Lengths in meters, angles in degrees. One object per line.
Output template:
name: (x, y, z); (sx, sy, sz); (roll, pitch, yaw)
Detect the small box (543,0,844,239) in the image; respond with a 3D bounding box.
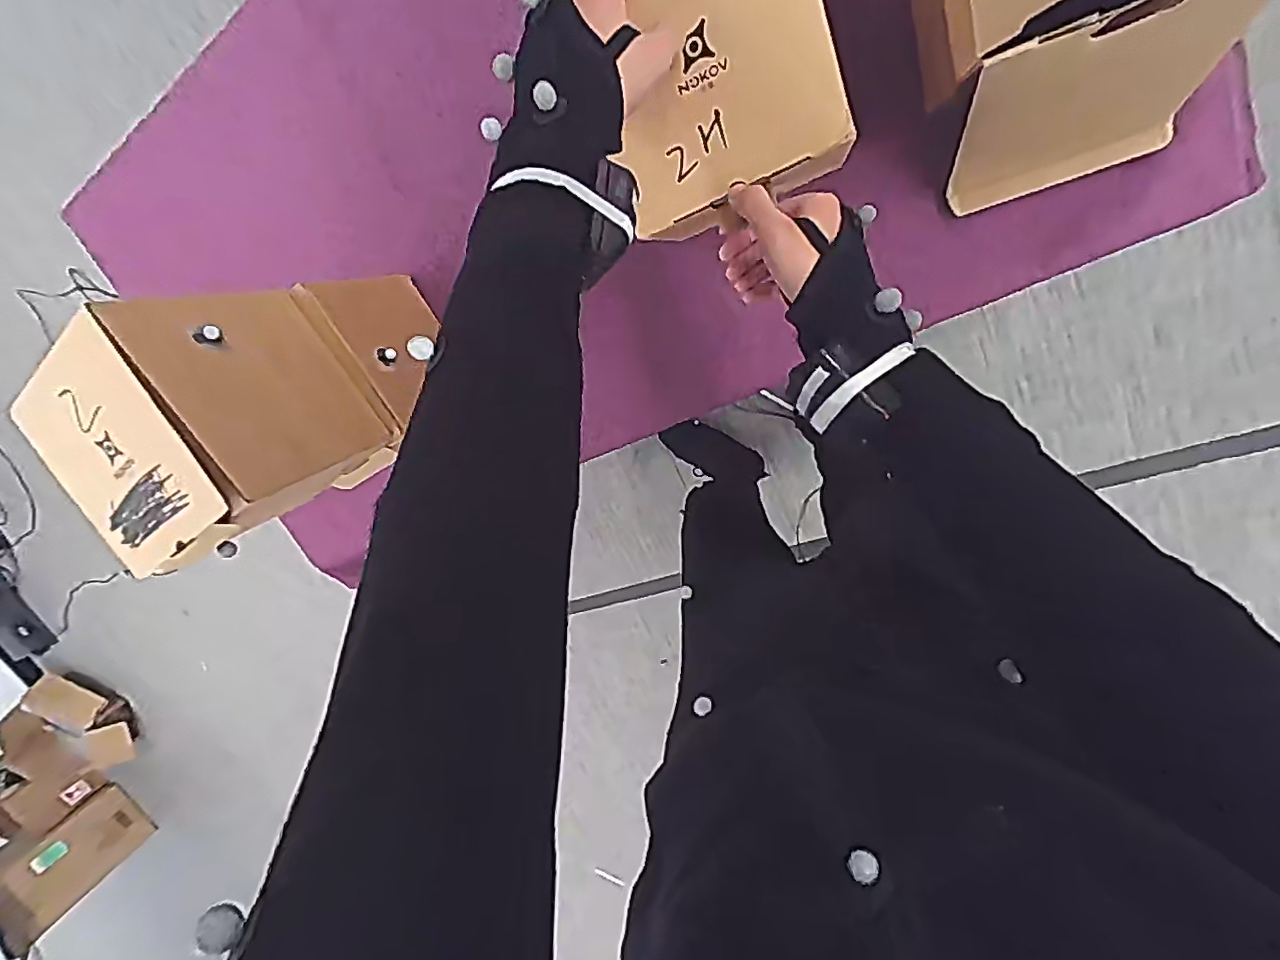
small box: (0.055, -0.311, 0.437); (0.168, 0.176, 0.179); (-16, 108, 23)

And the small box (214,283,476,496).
small box: (-0.331, -0.114, 0.641); (0.168, 0.176, 0.179); (-25, 104, 24)
